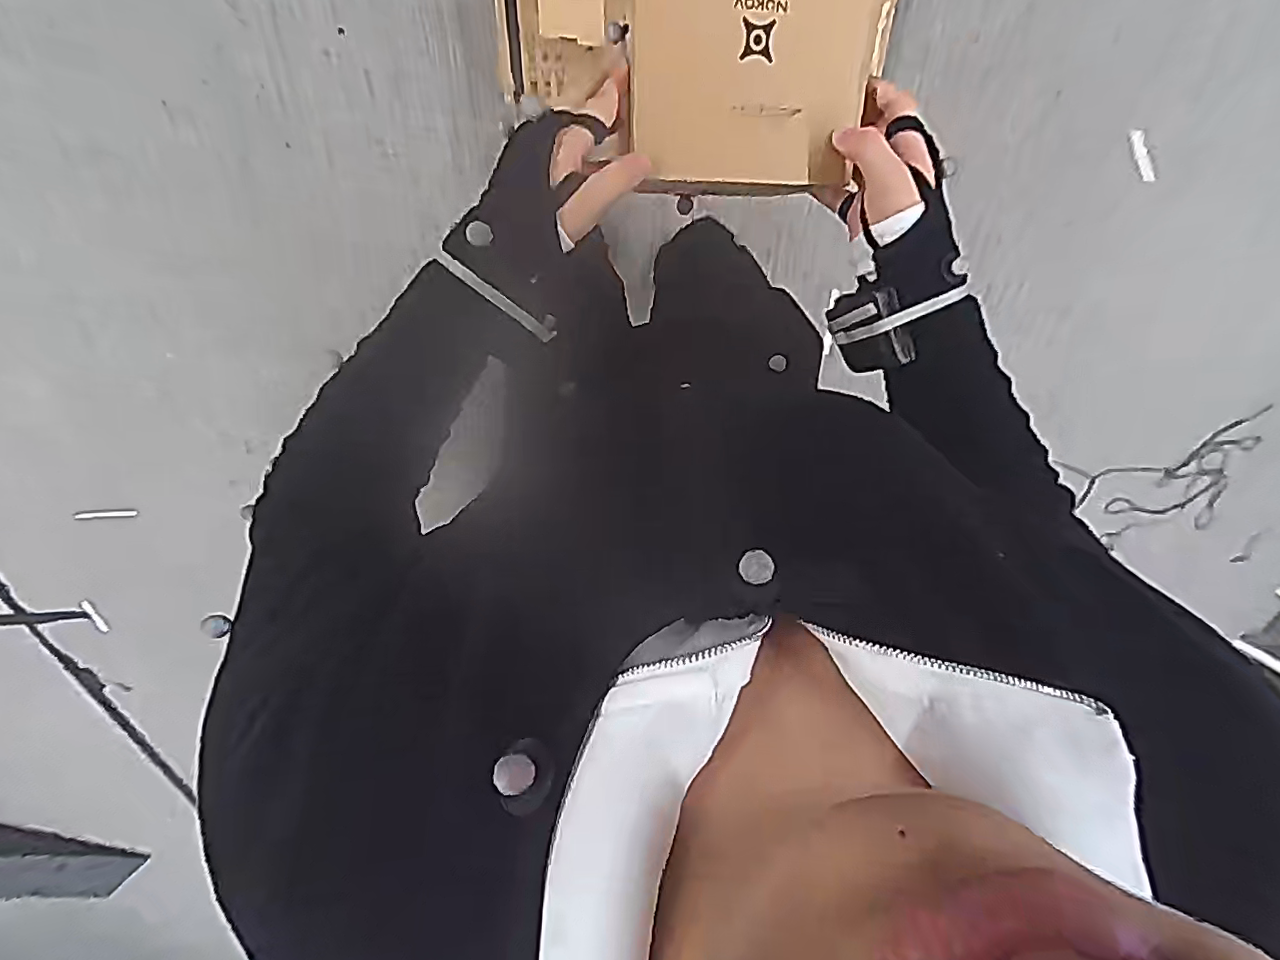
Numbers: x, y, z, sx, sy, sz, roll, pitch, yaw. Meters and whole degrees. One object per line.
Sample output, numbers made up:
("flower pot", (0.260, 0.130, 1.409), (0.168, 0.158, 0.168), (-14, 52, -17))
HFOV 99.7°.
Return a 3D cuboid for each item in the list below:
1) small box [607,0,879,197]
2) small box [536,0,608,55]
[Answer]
("small box", (0.065, -0.329, 0.428), (0.168, 0.176, 0.179), (-4, 116, -9))
("small box", (-0.085, -0.809, 0.878), (0.168, 0.176, 0.179), (-2, 124, -7))
